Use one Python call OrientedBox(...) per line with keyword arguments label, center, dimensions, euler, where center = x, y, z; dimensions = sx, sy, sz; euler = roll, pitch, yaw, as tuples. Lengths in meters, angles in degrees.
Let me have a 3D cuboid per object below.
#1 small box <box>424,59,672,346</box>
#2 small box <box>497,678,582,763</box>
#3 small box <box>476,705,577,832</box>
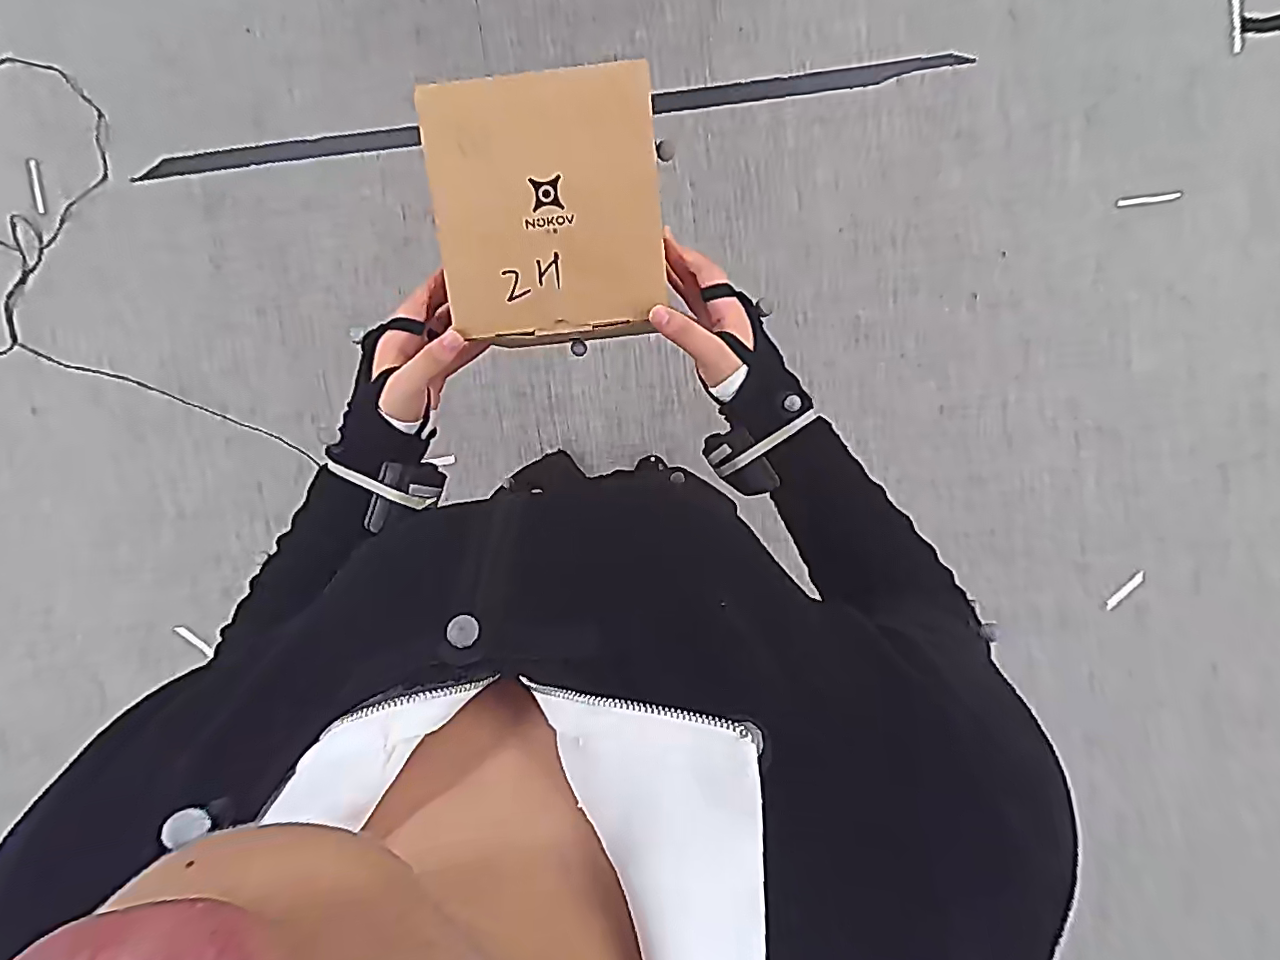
OrientedBox(label="small box", center=(-0.064, -0.216, 0.470), dimensions=(0.168, 0.176, 0.179), euler=(-5, 102, 2))
OrientedBox(label="small box", center=(-0.247, 0.619, 1.368), dimensions=(0.168, 0.176, 0.179), euler=(-9, 95, 3))
OrientedBox(label="small box", center=(-0.243, 0.634, 1.205), dimensions=(0.168, 0.176, 0.179), euler=(-12, 95, 2))
